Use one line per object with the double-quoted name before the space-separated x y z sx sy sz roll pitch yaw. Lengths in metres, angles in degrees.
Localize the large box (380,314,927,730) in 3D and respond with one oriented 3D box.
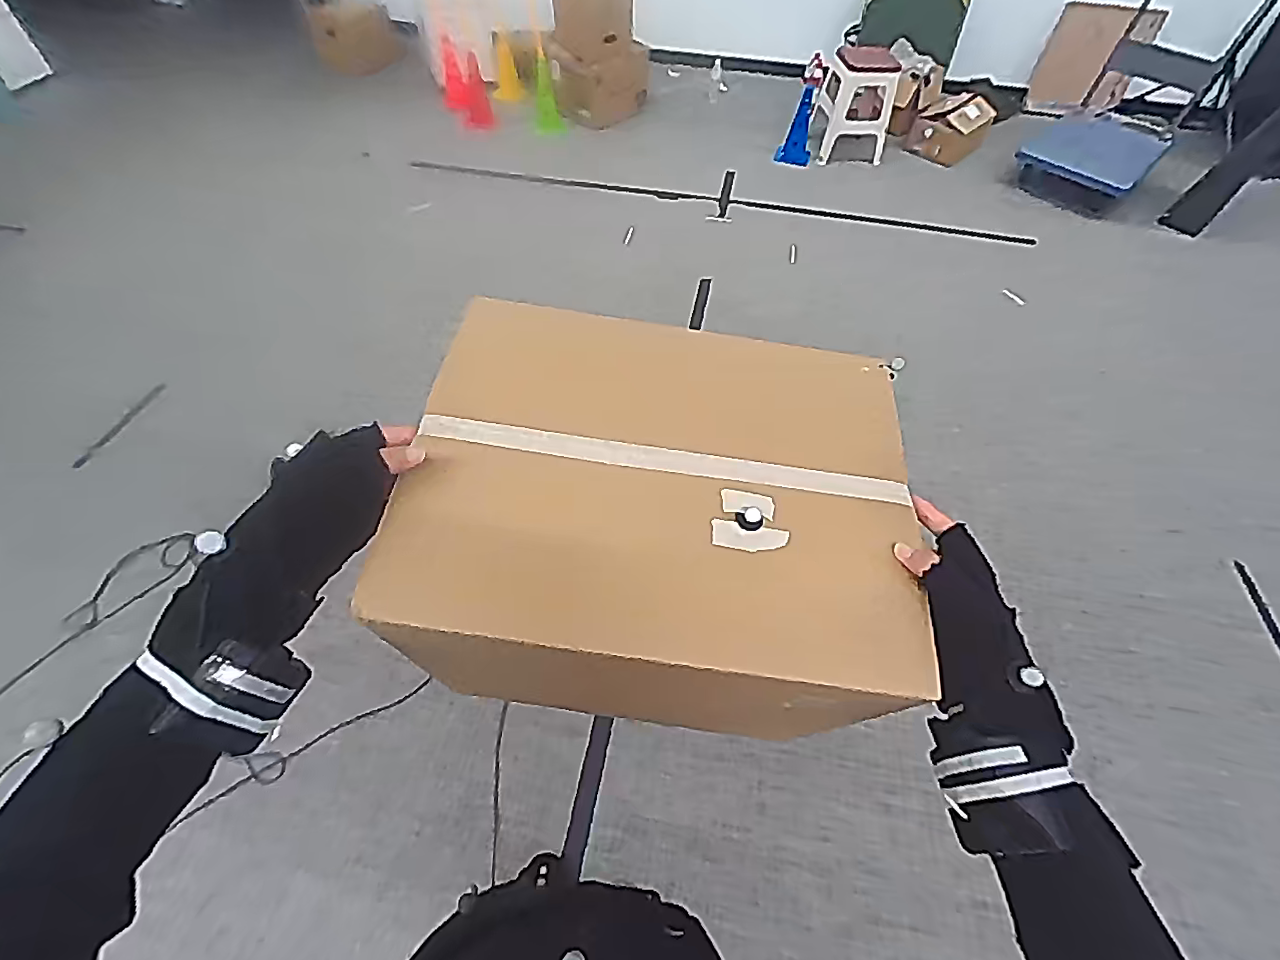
"large box" 0.012 0.066 0.586 0.408 0.320 0.320 9 60 -1
